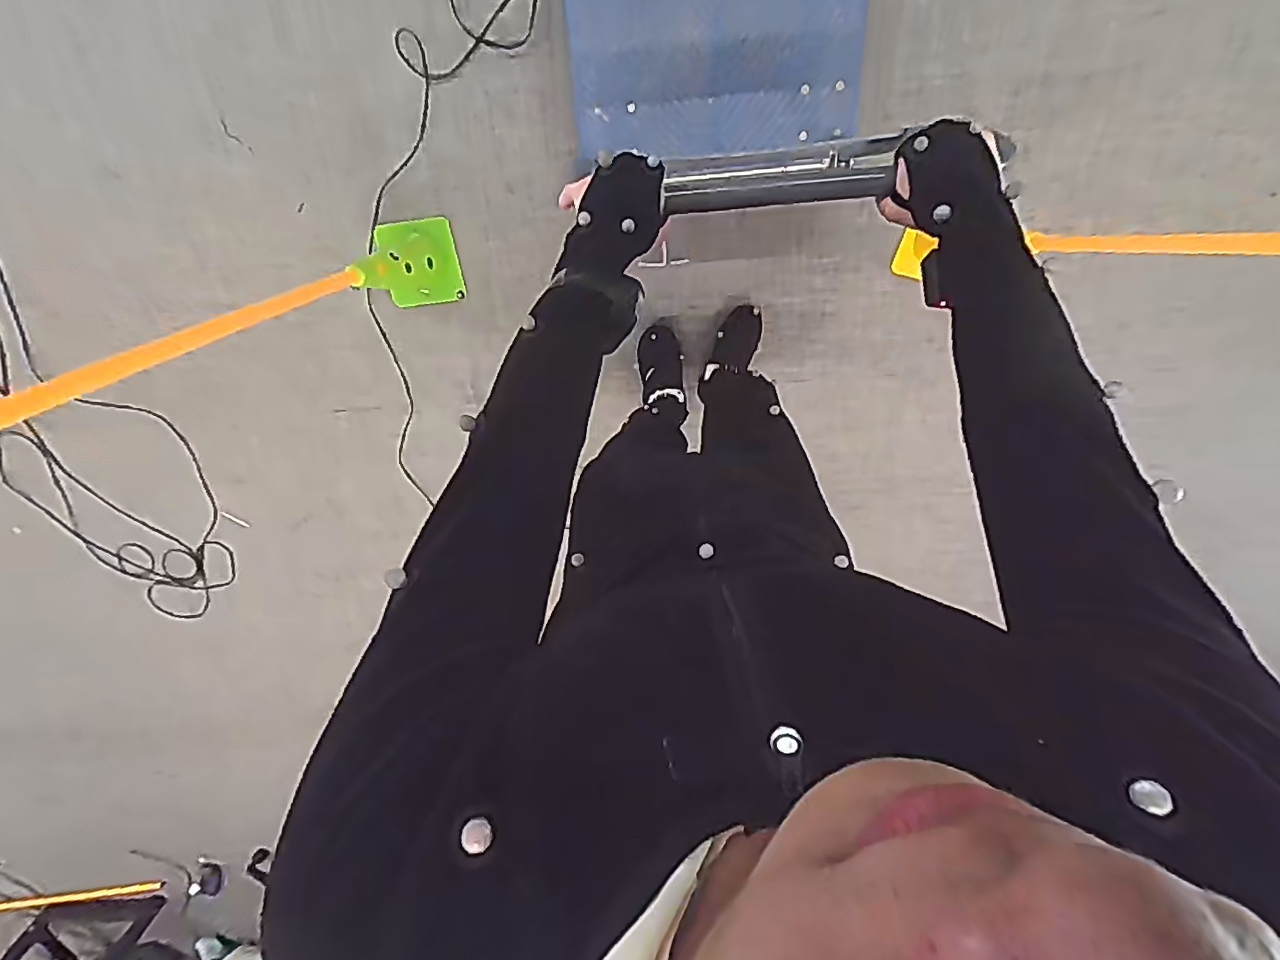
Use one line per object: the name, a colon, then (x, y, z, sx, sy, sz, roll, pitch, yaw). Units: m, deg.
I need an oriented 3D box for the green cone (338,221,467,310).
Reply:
green cone: (-0.571, -0.479, 1.242, 0.202, 0.368, 0.200, -6, 114, 6)
